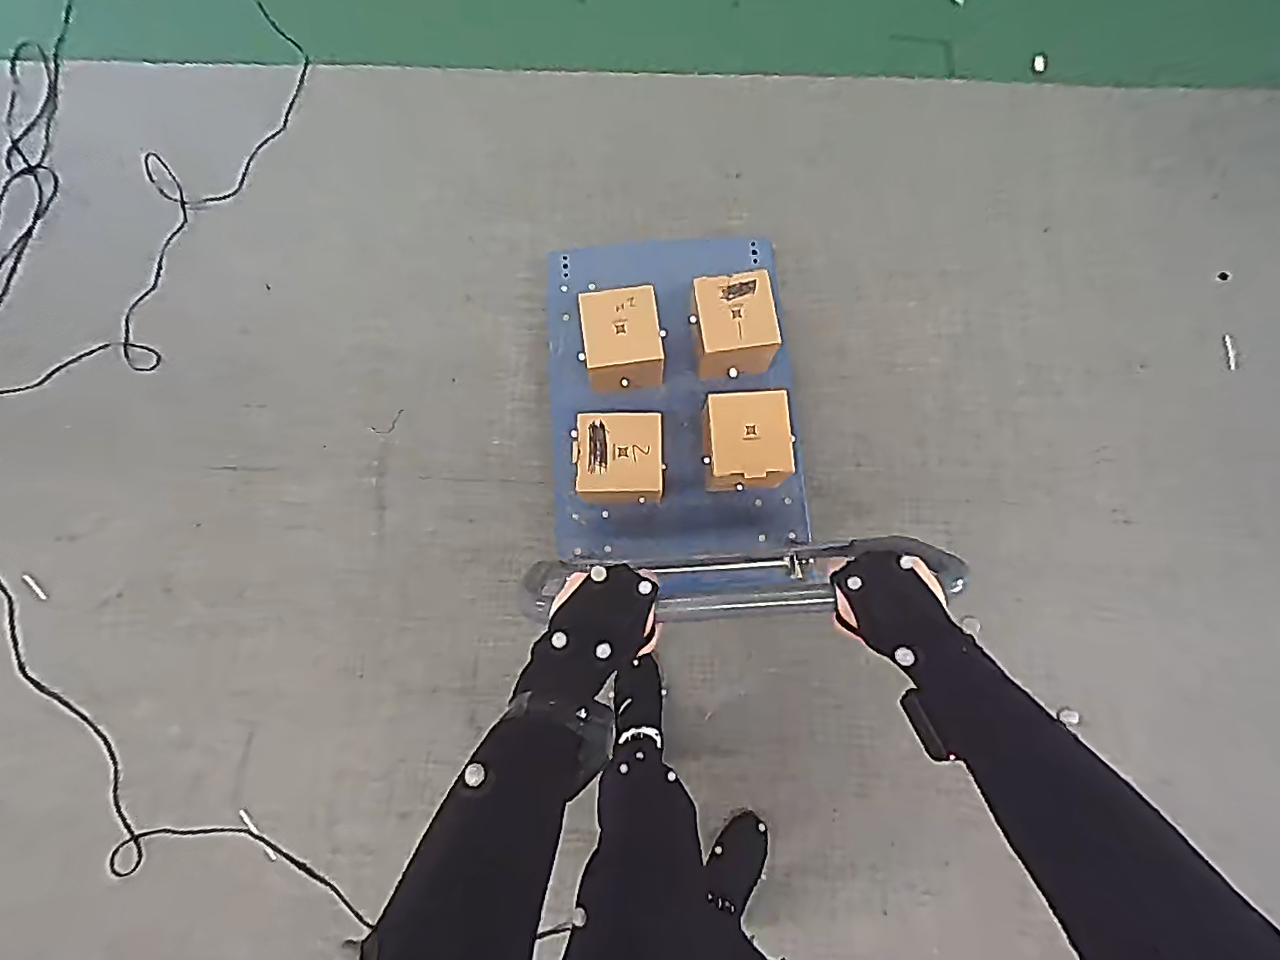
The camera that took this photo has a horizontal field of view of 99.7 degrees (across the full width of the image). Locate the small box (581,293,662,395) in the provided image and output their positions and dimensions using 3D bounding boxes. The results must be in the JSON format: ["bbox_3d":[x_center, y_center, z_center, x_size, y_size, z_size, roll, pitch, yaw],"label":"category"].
[{"bbox_3d":[-0.040,-0.305,1.255,0.168,0.176,0.179,-7,78,-1],"label":"small box"}]

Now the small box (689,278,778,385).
[{"bbox_3d":[0.210,-0.340,1.258,0.168,0.176,0.179,-8,79,0],"label":"small box"}]

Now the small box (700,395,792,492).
[{"bbox_3d":[0.228,-0.076,1.205,0.168,0.176,0.179,-3,79,0],"label":"small box"}]
